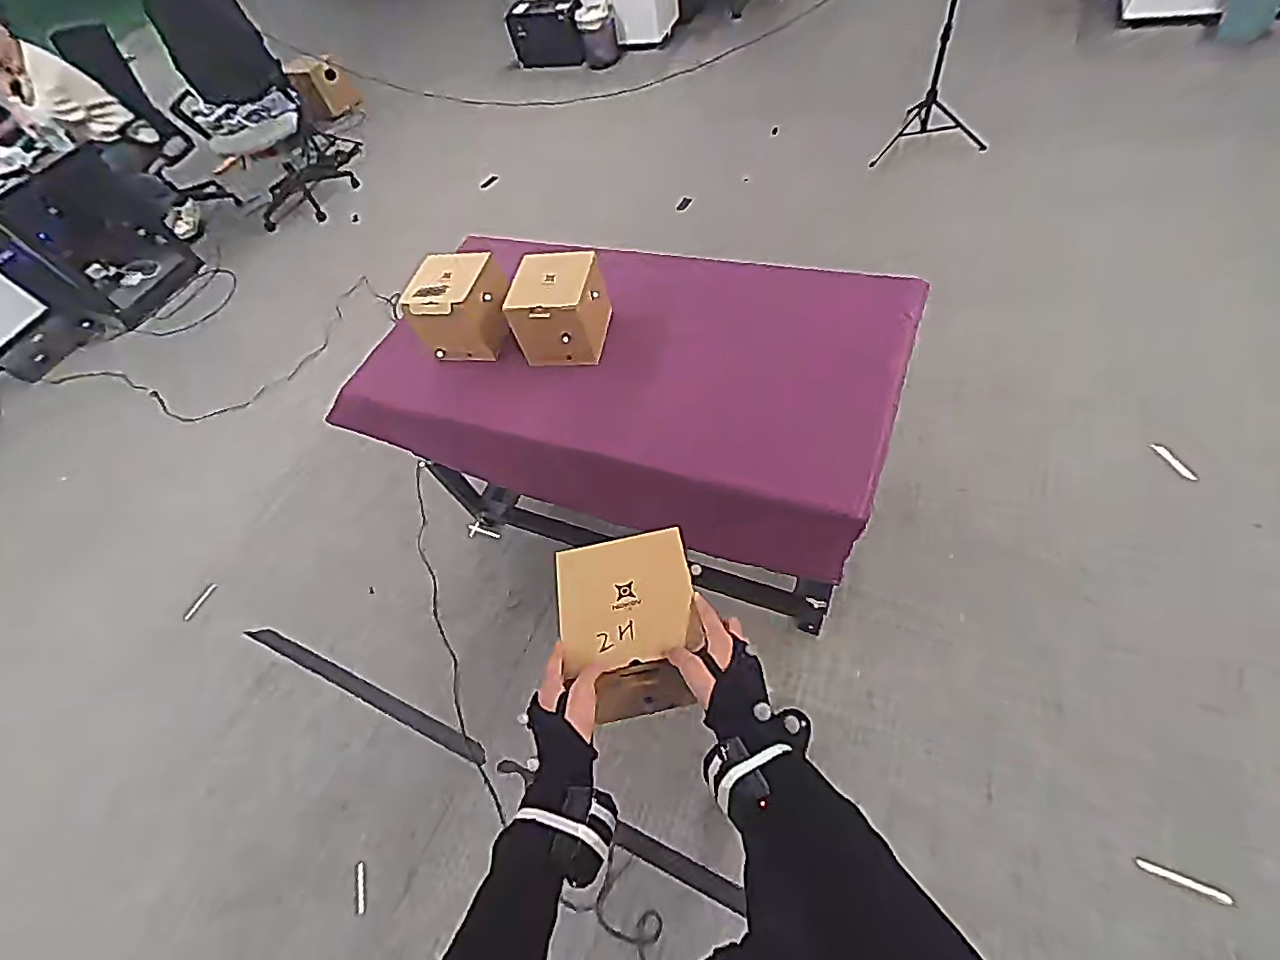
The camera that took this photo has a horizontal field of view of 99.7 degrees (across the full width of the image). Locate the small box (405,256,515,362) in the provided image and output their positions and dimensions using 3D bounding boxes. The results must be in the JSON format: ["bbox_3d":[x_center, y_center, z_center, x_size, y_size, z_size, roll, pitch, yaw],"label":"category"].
[{"bbox_3d":[-0.403,-0.394,1.263,0.168,0.176,0.179,5,58,15],"label":"small box"}]

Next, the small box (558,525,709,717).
[{"bbox_3d":[-0.007,0.190,0.721,0.168,0.176,0.179,-12,49,1],"label":"small box"}]

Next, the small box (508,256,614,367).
[{"bbox_3d":[-0.164,-0.365,1.193,0.168,0.176,0.179,3,58,14],"label":"small box"}]
